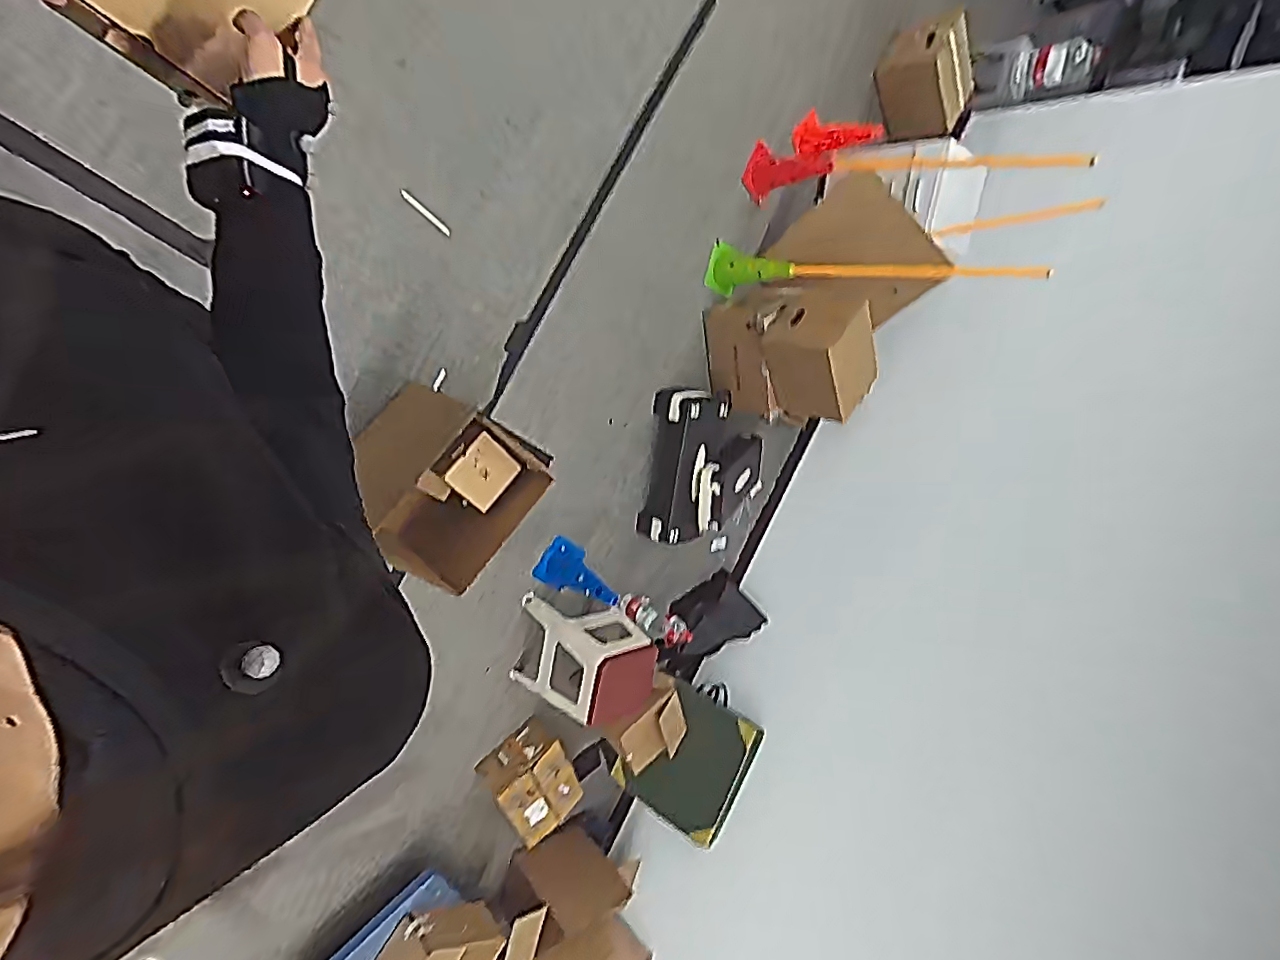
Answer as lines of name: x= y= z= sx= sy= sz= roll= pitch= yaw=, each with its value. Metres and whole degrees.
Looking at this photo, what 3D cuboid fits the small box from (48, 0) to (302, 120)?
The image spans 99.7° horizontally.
small box: x=-0.444 y=-0.484 z=0.518 sx=0.168 sy=0.176 sz=0.179 roll=27 pitch=93 yaw=-47
